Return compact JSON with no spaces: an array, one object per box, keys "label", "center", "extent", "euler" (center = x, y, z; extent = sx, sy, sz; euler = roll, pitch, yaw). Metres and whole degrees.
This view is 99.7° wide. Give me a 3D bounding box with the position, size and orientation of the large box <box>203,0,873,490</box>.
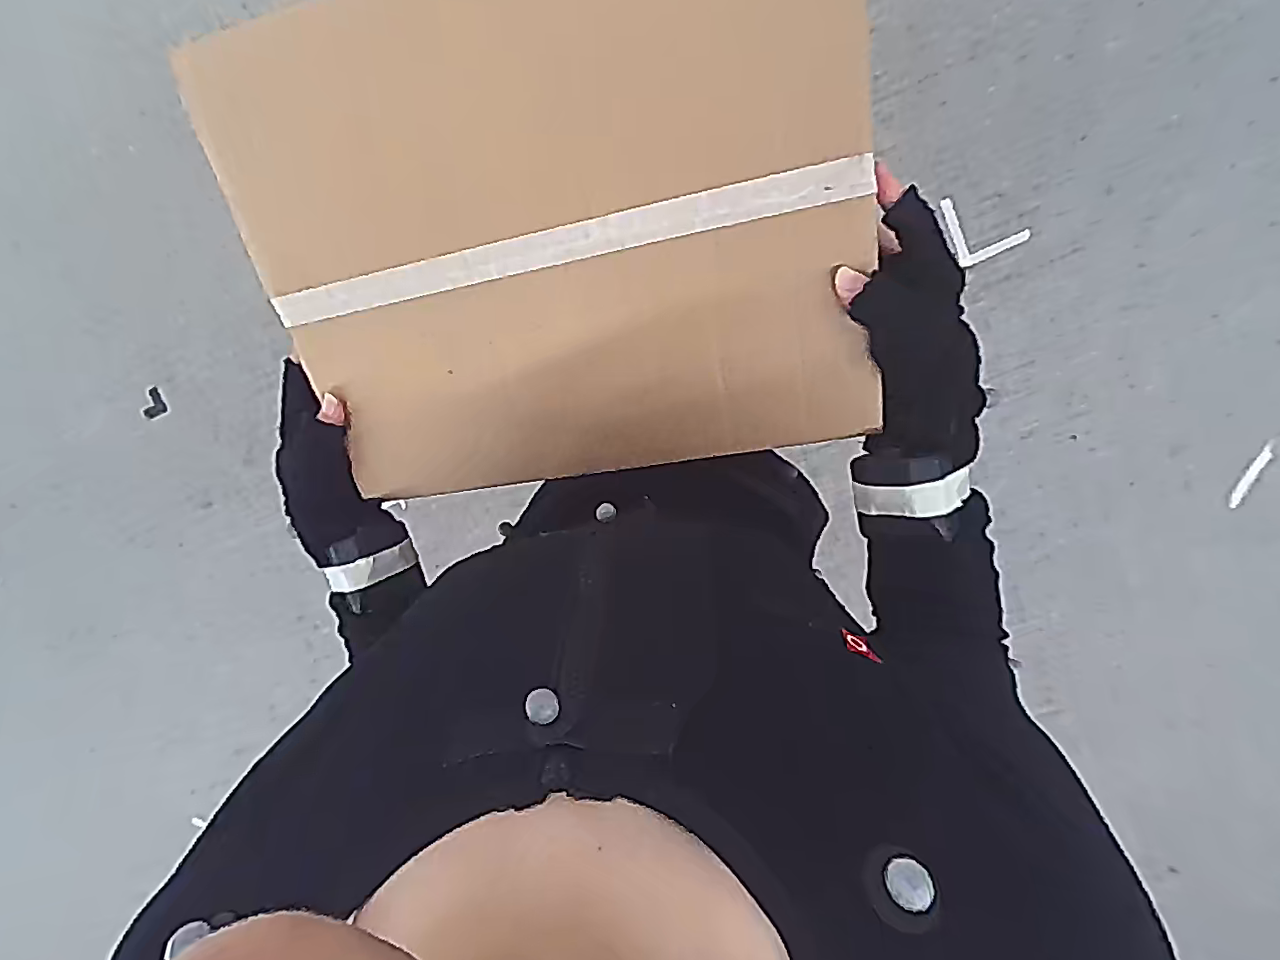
[{"label":"large box","center":[-0.043,-0.215,0.495],"extent":[0.408,0.320,0.320],"euler":[-8,113,12]}]
